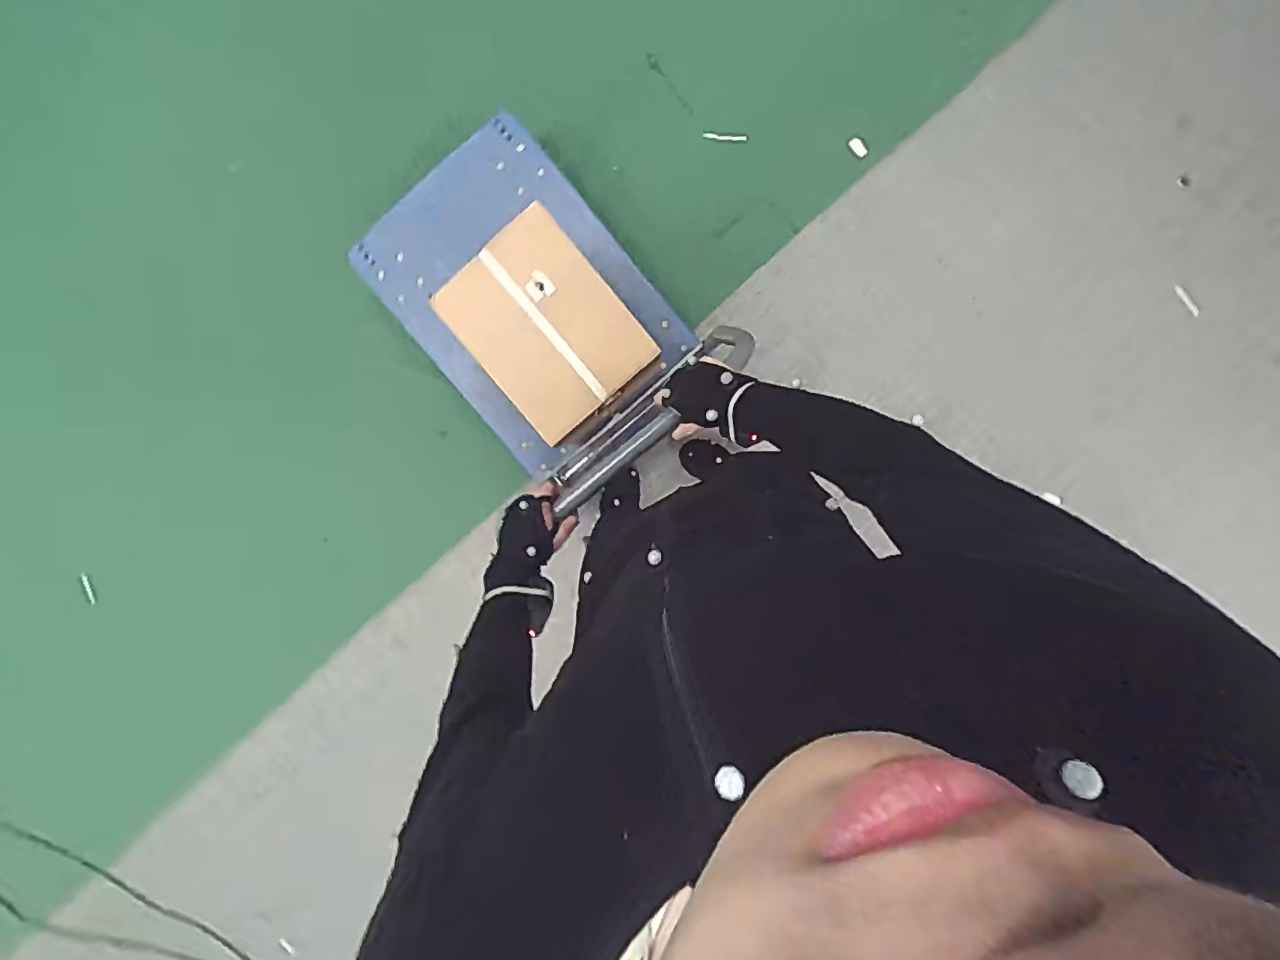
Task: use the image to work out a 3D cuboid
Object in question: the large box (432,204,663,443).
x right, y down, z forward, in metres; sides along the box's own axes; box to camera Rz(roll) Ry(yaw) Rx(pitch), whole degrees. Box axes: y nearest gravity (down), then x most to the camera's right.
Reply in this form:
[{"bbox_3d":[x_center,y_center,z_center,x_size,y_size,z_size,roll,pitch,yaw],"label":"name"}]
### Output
[{"bbox_3d":[-0.188,-0.336,1.276,0.320,0.320,0.408,-39,92,5],"label":"large box"}]
